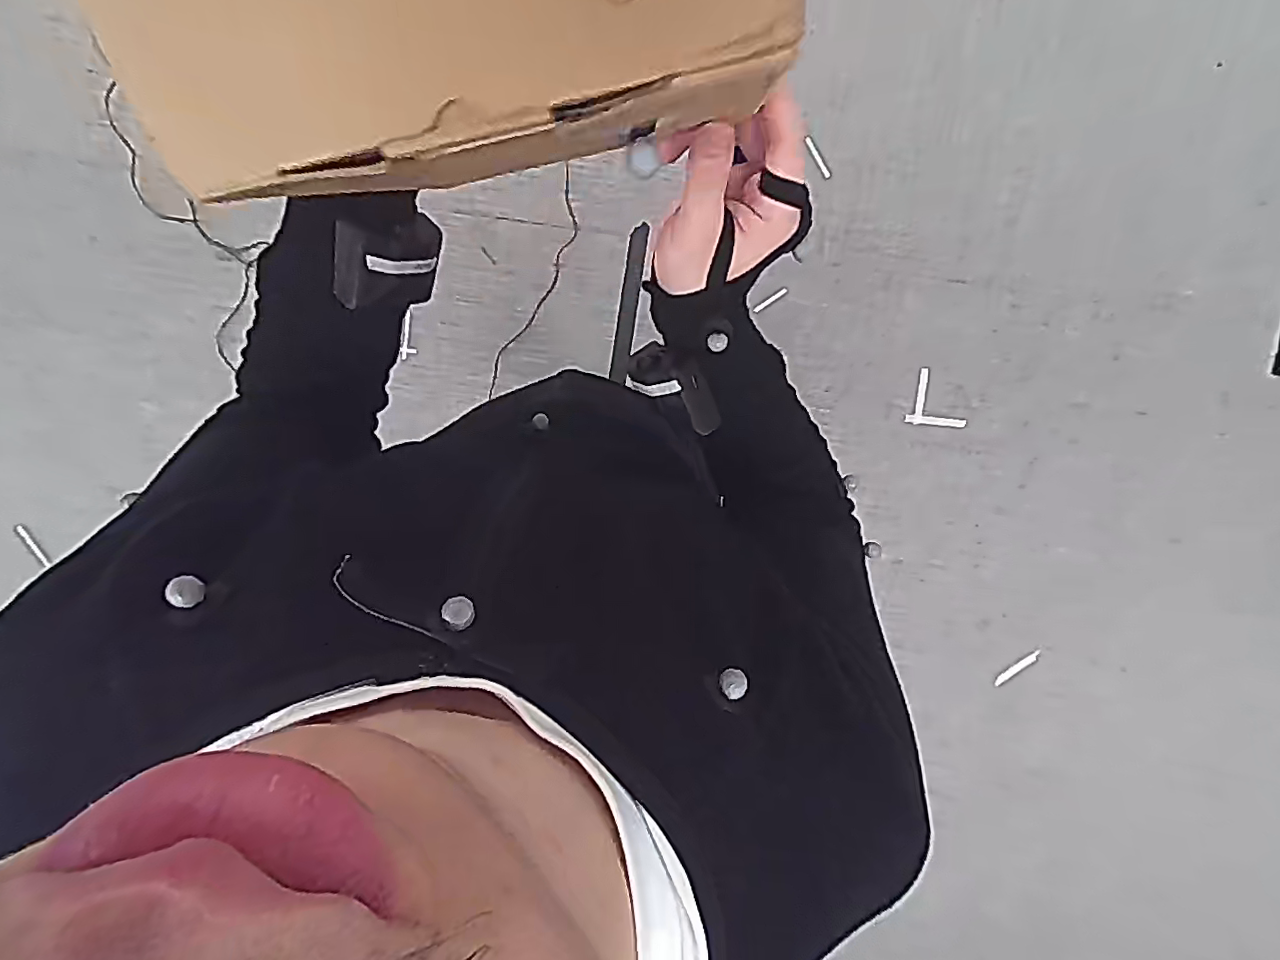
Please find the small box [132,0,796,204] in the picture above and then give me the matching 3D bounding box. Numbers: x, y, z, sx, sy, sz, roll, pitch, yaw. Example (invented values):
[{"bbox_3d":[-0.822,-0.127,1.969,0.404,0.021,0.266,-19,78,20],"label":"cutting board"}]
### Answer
[{"bbox_3d":[-0.048,-0.205,0.174,0.168,0.176,0.179,-8,118,10],"label":"small box"}]
